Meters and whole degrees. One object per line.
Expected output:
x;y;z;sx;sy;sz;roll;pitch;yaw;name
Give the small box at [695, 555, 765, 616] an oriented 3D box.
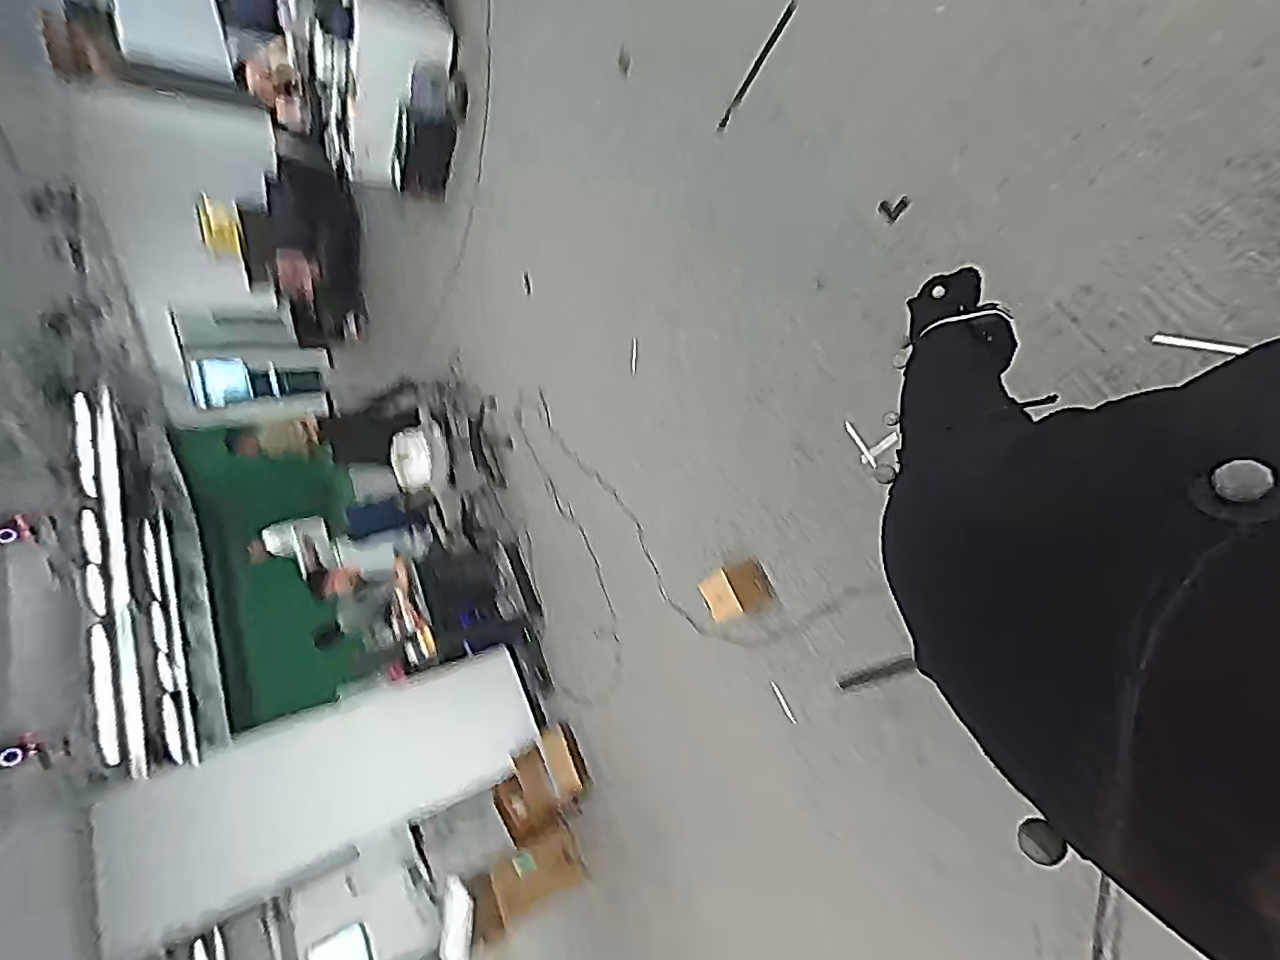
0.352;0.410;2.112;0.179;0.176;0.168;-44;64;49;small box
